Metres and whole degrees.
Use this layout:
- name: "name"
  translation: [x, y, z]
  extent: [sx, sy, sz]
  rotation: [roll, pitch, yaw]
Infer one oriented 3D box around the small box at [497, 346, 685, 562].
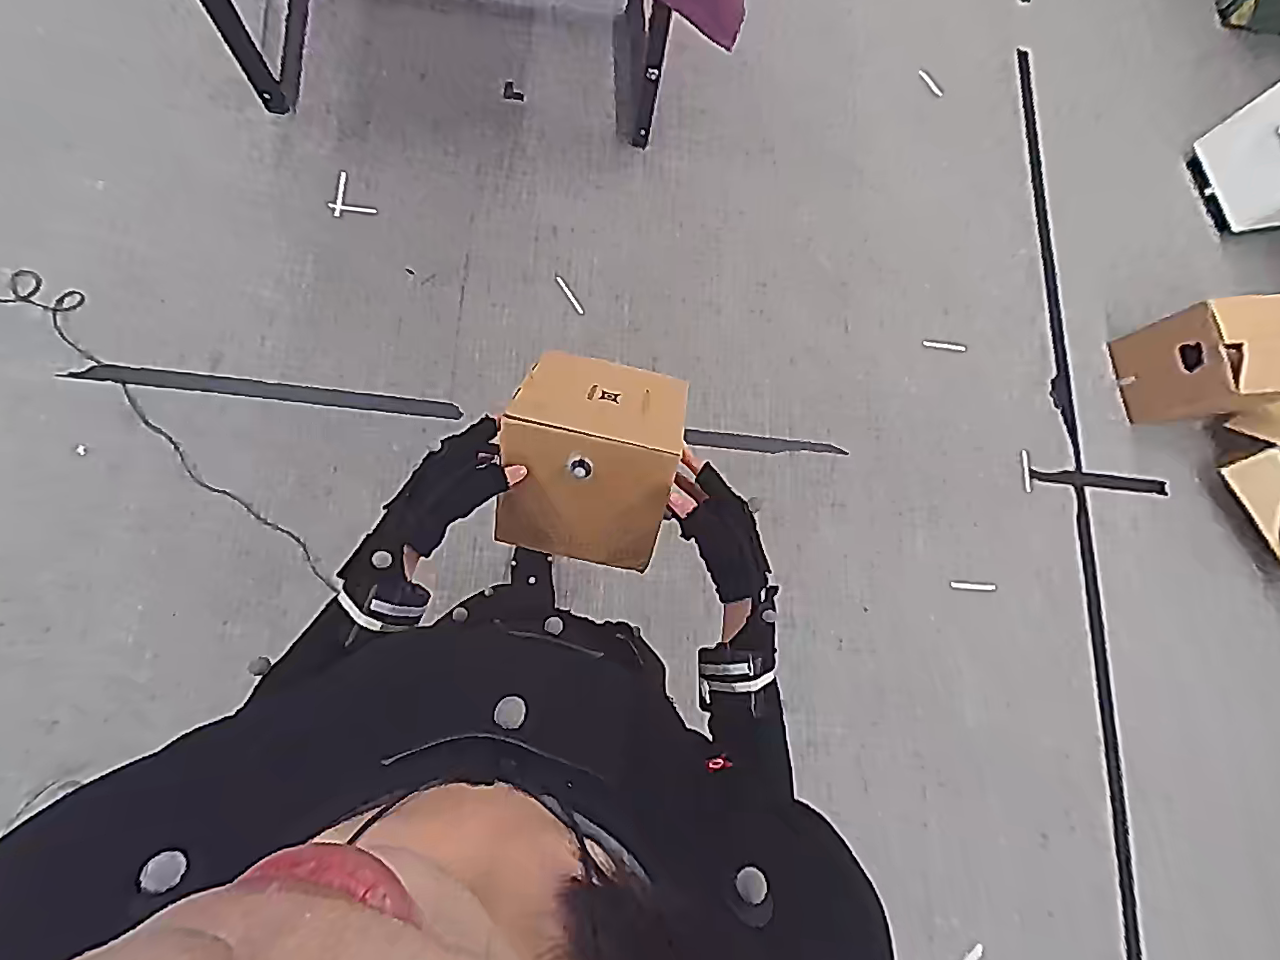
- name: "small box"
  translation: [-0.055, -0.029, 0.618]
  extent: [0.179, 0.176, 0.168]
  rotation: [13, 37, -2]
